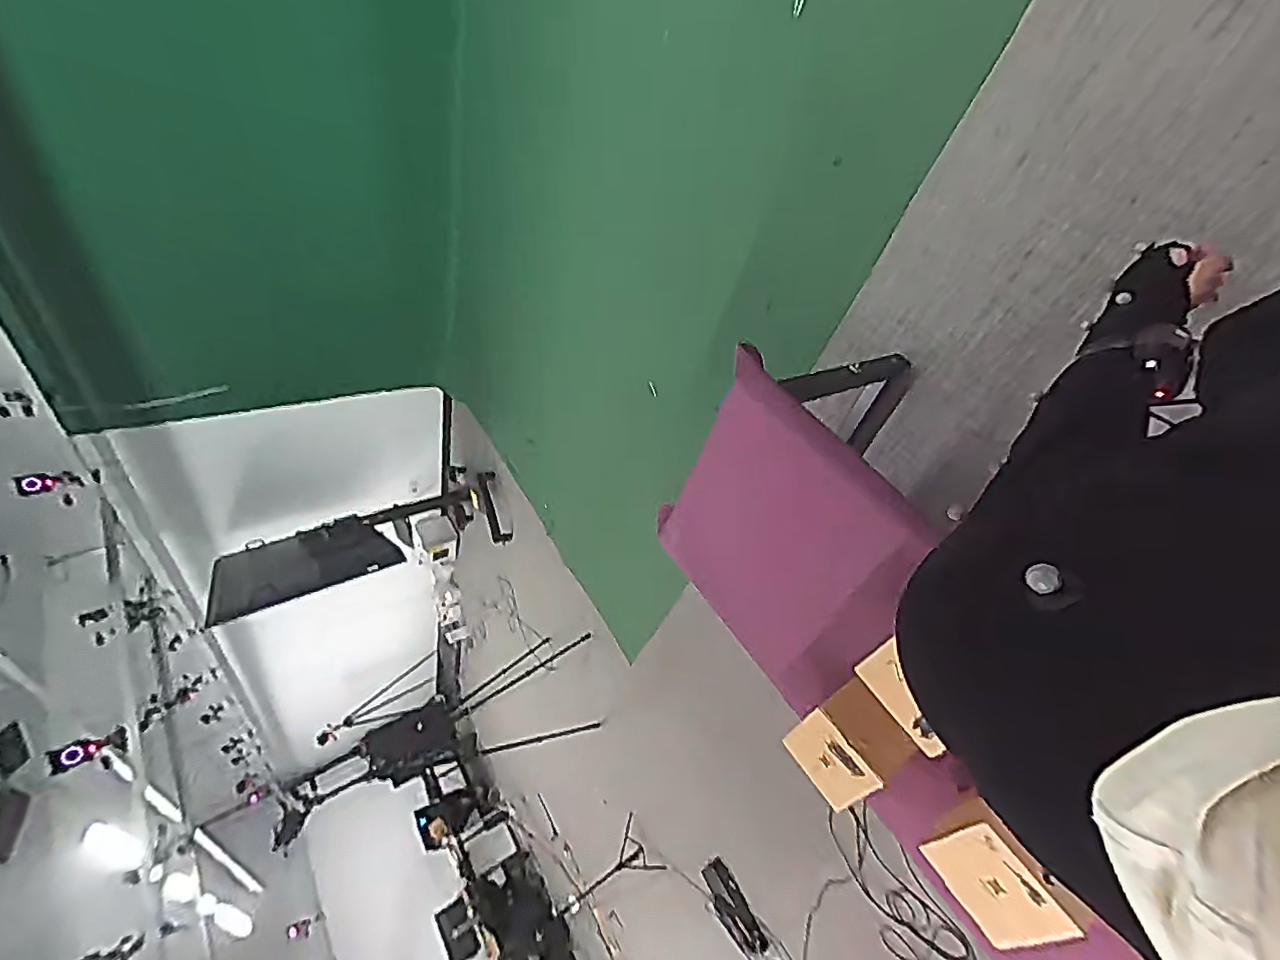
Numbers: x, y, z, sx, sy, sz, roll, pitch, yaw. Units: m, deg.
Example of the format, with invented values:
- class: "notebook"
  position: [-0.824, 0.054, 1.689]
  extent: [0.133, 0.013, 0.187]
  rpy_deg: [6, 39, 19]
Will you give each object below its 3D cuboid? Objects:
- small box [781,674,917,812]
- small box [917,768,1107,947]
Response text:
- class: "small box"
  position: [0.434, 0.535, 1.115]
  extent: [0.168, 0.176, 0.179]
  rpy_deg: [50, 139, 30]
- class: "small box"
  position: [0.615, 0.620, 0.897]
  extent: [0.168, 0.176, 0.179]
  rpy_deg: [50, 139, 28]
